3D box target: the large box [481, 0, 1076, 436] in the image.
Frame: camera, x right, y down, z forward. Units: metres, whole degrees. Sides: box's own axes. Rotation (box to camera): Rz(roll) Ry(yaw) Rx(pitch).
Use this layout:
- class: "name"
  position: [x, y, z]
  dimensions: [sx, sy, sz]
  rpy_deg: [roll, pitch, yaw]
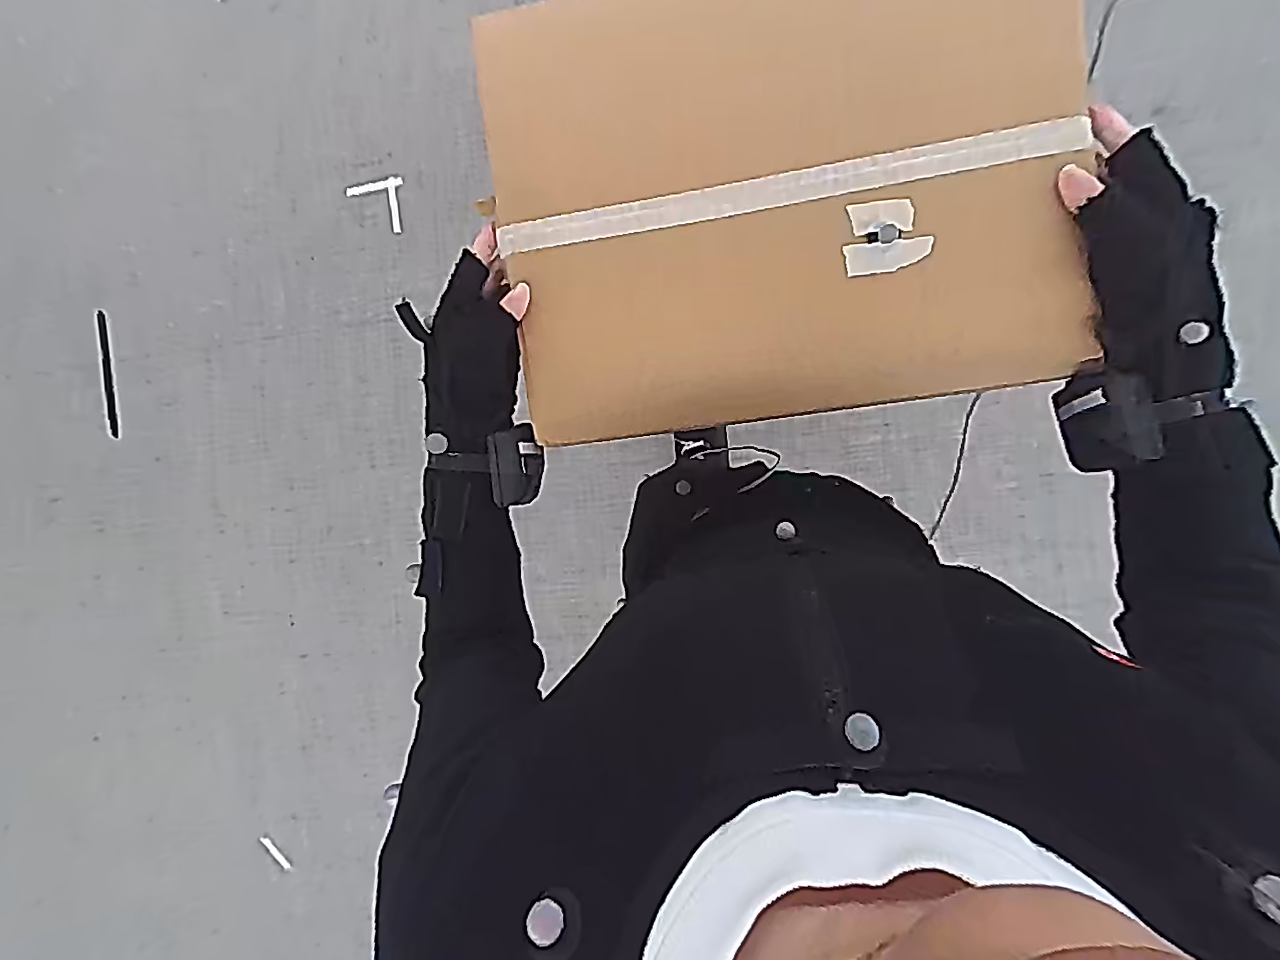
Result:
- class: "large box"
  position: [0.109, -0.229, 0.542]
  dimensions: [0.408, 0.320, 0.320]
  rpy_deg: [-8, 96, 6]
